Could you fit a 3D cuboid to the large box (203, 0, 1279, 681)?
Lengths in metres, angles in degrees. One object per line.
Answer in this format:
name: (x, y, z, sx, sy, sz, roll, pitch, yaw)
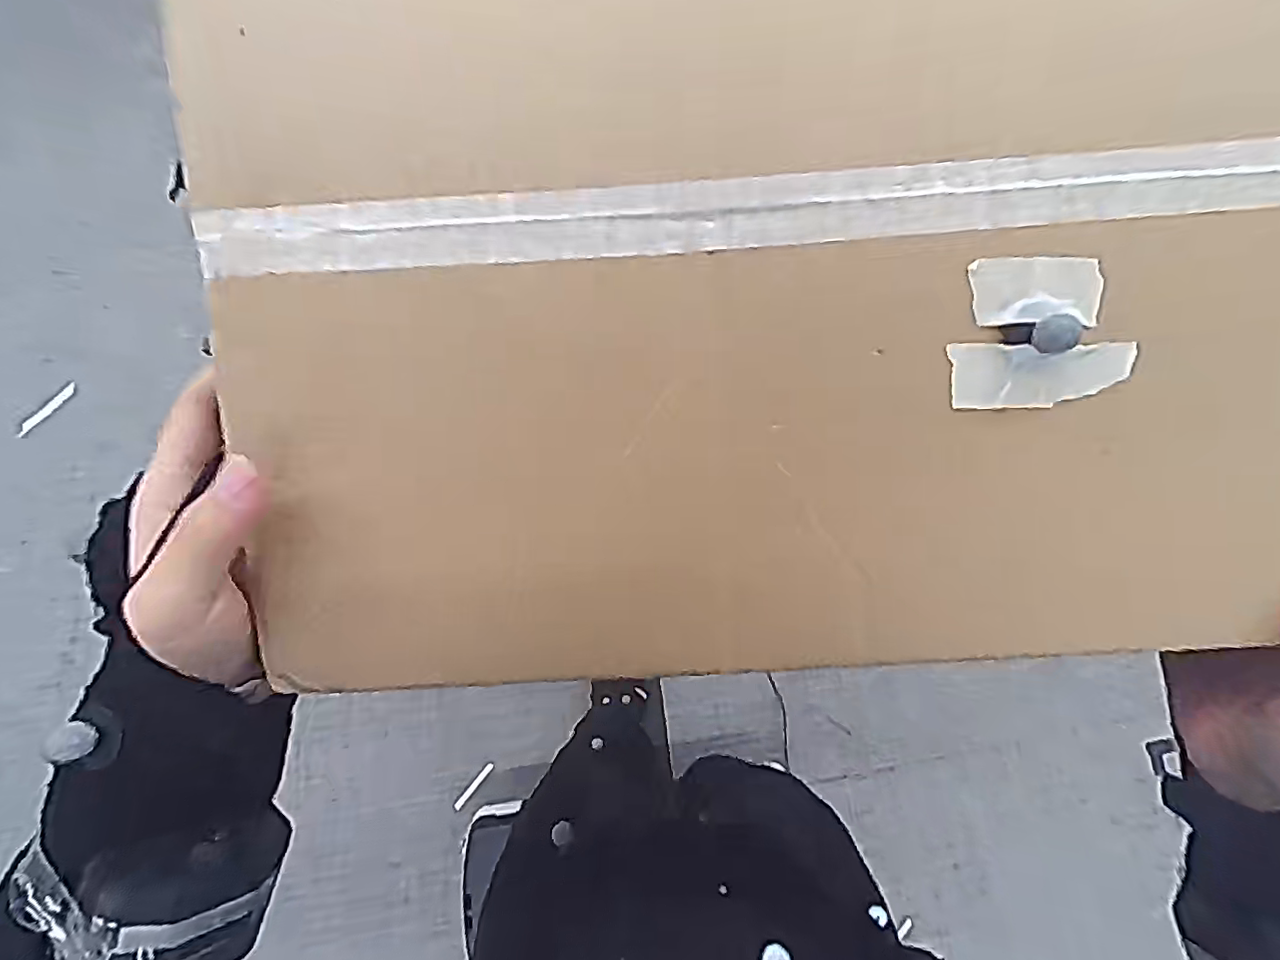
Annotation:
large box: (0.055, -0.105, 0.335, 0.408, 0.320, 0.320, -4, 97, 0)
